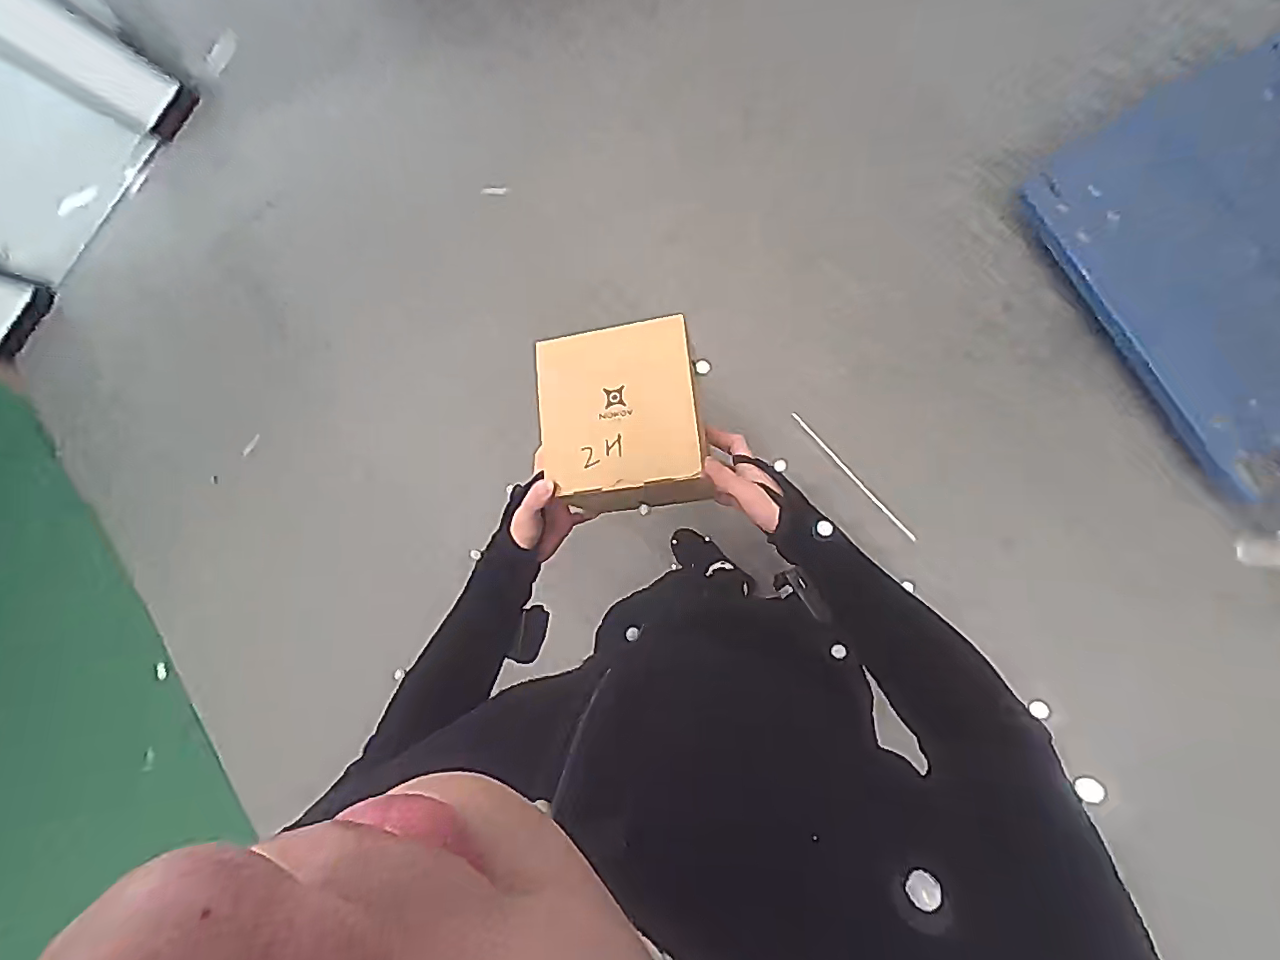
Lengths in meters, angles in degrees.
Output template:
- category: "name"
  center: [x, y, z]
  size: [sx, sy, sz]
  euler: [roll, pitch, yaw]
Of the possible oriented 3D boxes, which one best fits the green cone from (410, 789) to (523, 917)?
- category: "green cone"
  center: [-0.538, 1.116, 1.570]
  size: [0.200, 0.368, 0.202]
  euler: [-41, 78, 11]
